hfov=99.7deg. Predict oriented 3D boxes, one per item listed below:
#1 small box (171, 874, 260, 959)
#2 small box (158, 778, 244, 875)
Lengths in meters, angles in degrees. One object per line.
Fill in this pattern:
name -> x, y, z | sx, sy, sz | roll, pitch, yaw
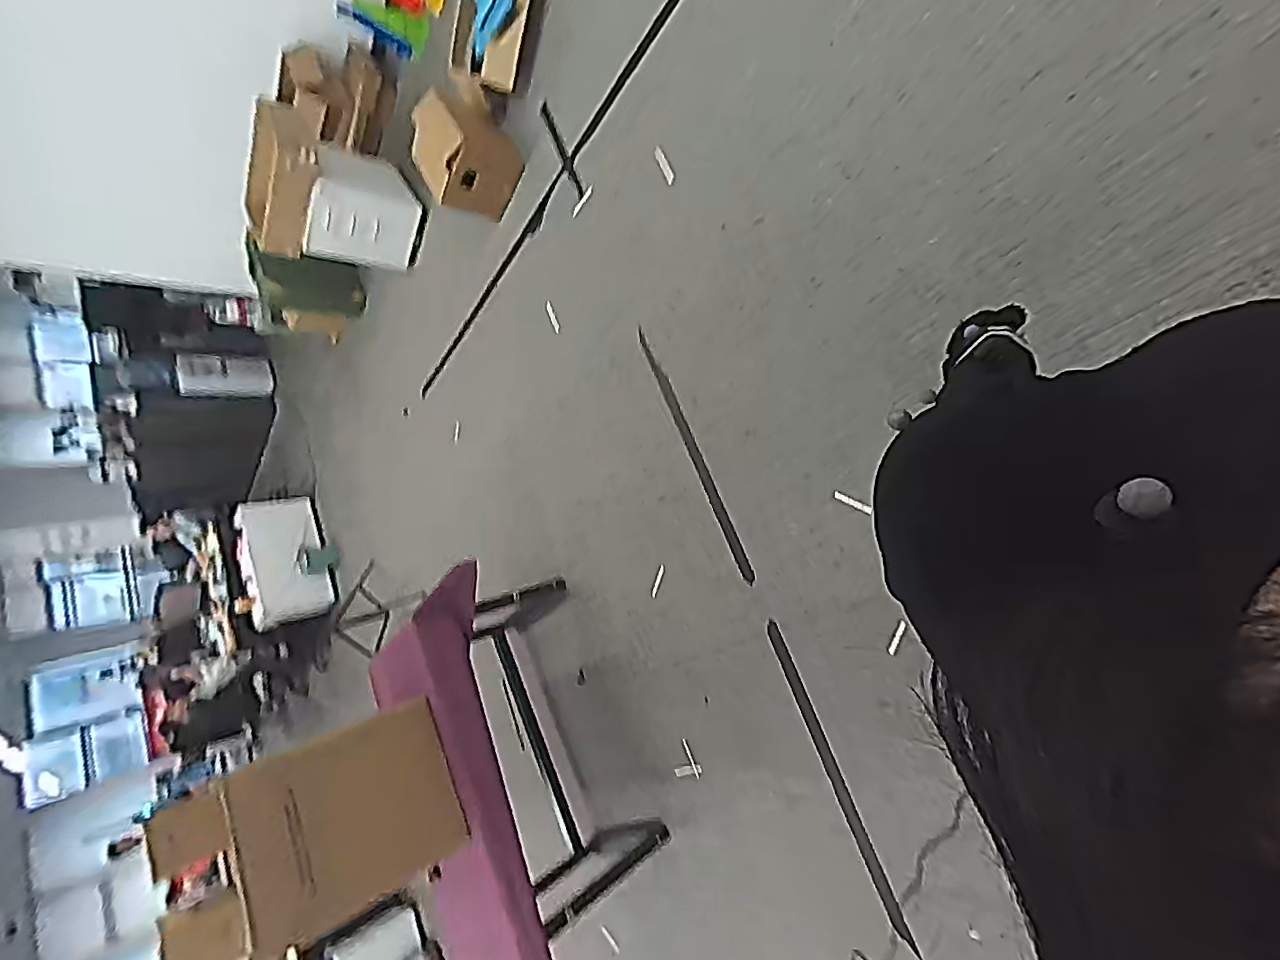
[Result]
small box -> -1.193, 1.259, 1.520 | 0.168, 0.176, 0.179 | -21, 80, 43
small box -> -1.280, 1.009, 1.577 | 0.168, 0.176, 0.179 | -42, 68, 39
